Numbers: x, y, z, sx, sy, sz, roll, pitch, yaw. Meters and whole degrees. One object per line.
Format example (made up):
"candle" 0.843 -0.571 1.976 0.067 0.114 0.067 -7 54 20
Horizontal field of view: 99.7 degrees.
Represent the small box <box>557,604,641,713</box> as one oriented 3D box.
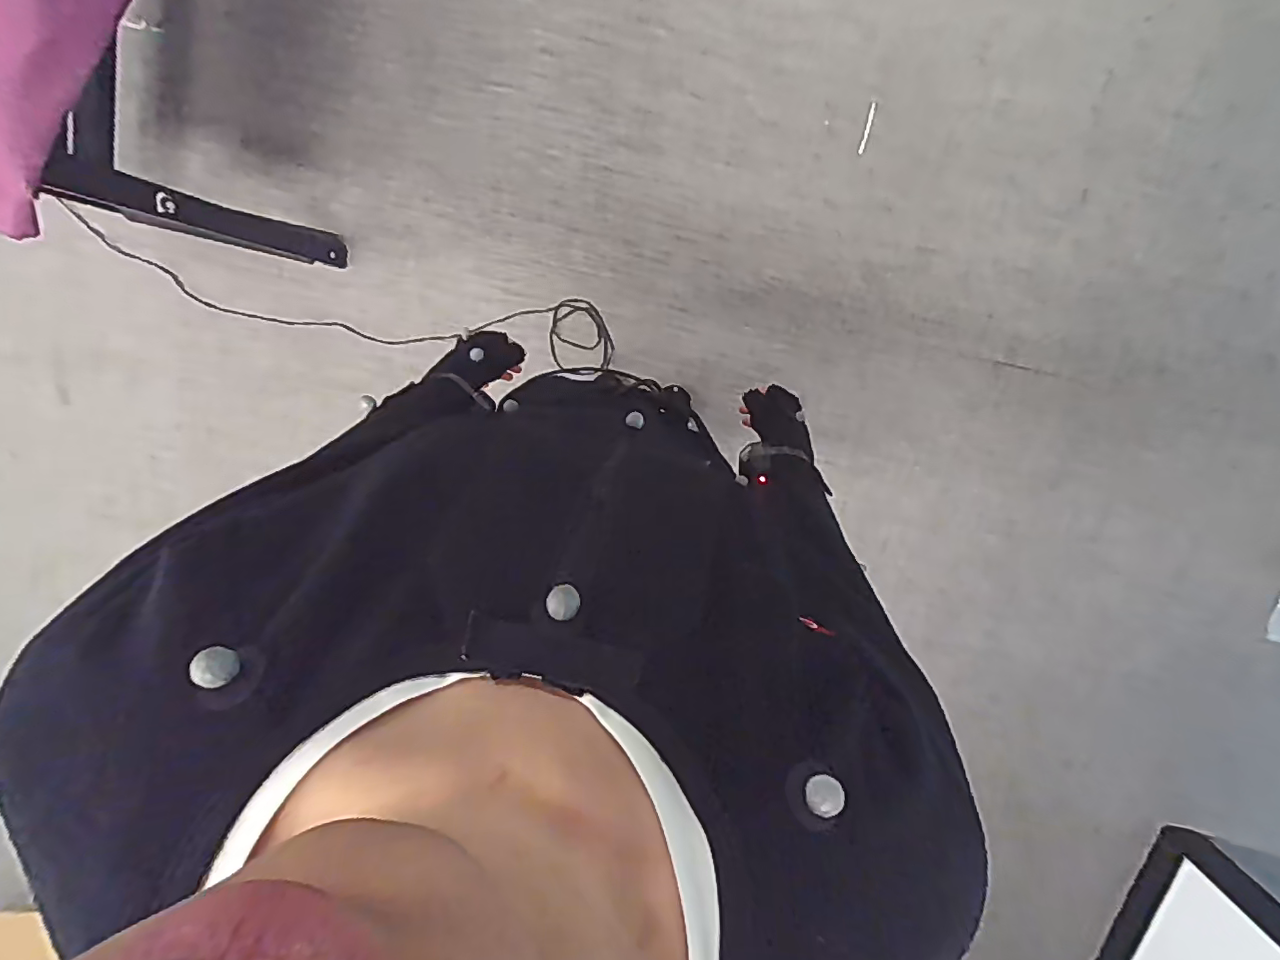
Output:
"small box" -0.094 0.433 1.332 0.168 0.176 0.179 12 104 0
